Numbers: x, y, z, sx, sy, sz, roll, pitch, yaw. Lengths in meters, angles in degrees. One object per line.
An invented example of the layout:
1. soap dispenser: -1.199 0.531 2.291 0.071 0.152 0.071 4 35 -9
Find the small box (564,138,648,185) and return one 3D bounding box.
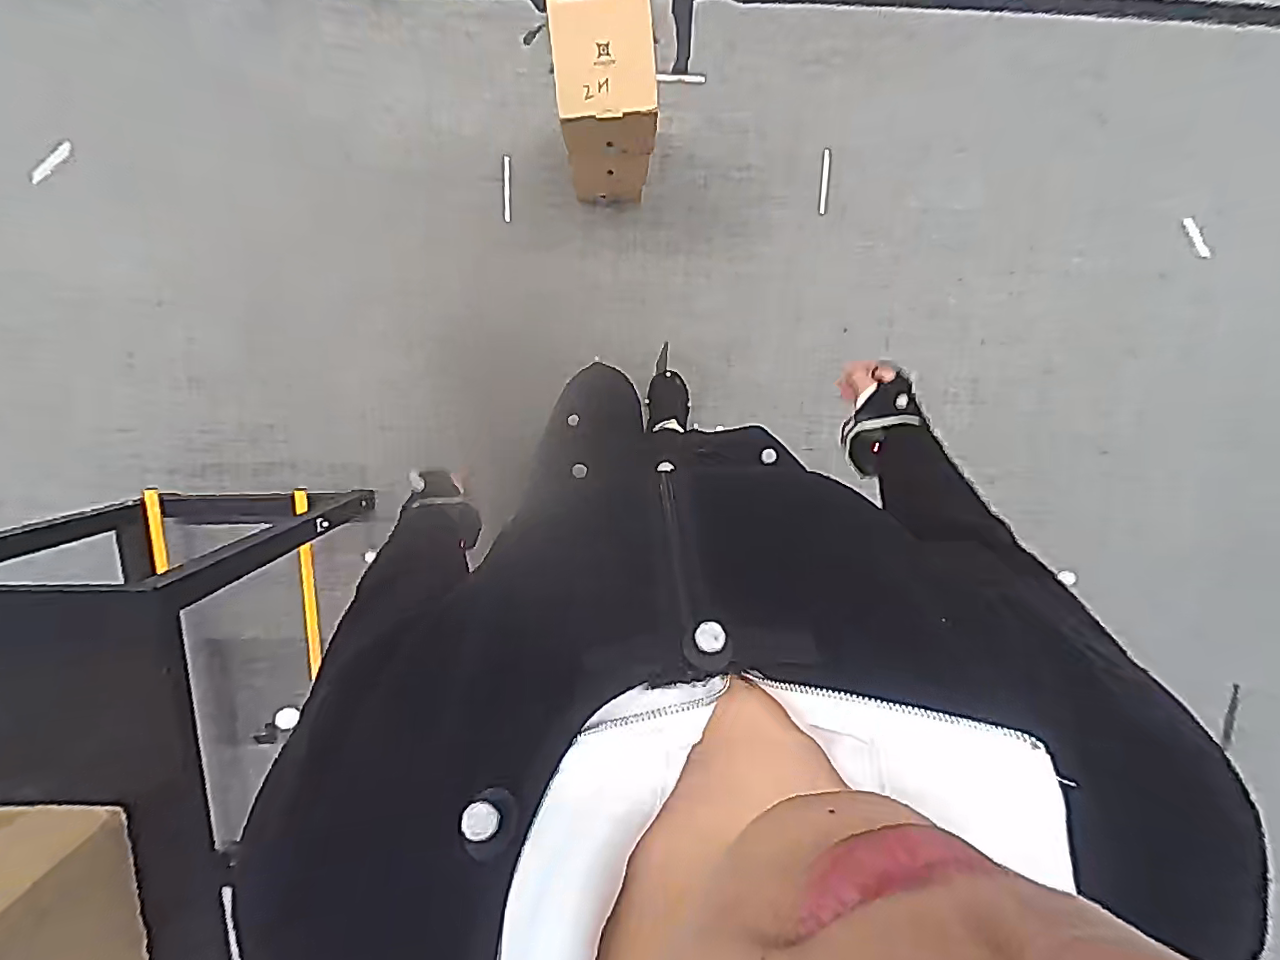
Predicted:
1. small box: -0.066 -0.722 1.106 0.168 0.176 0.179 0 101 -1

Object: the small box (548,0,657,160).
1. small box: -0.061 -0.690 0.943 0.168 0.176 0.179 -5 101 0

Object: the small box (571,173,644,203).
1. small box: -0.076 -0.768 1.264 0.168 0.176 0.179 -1 102 -1
